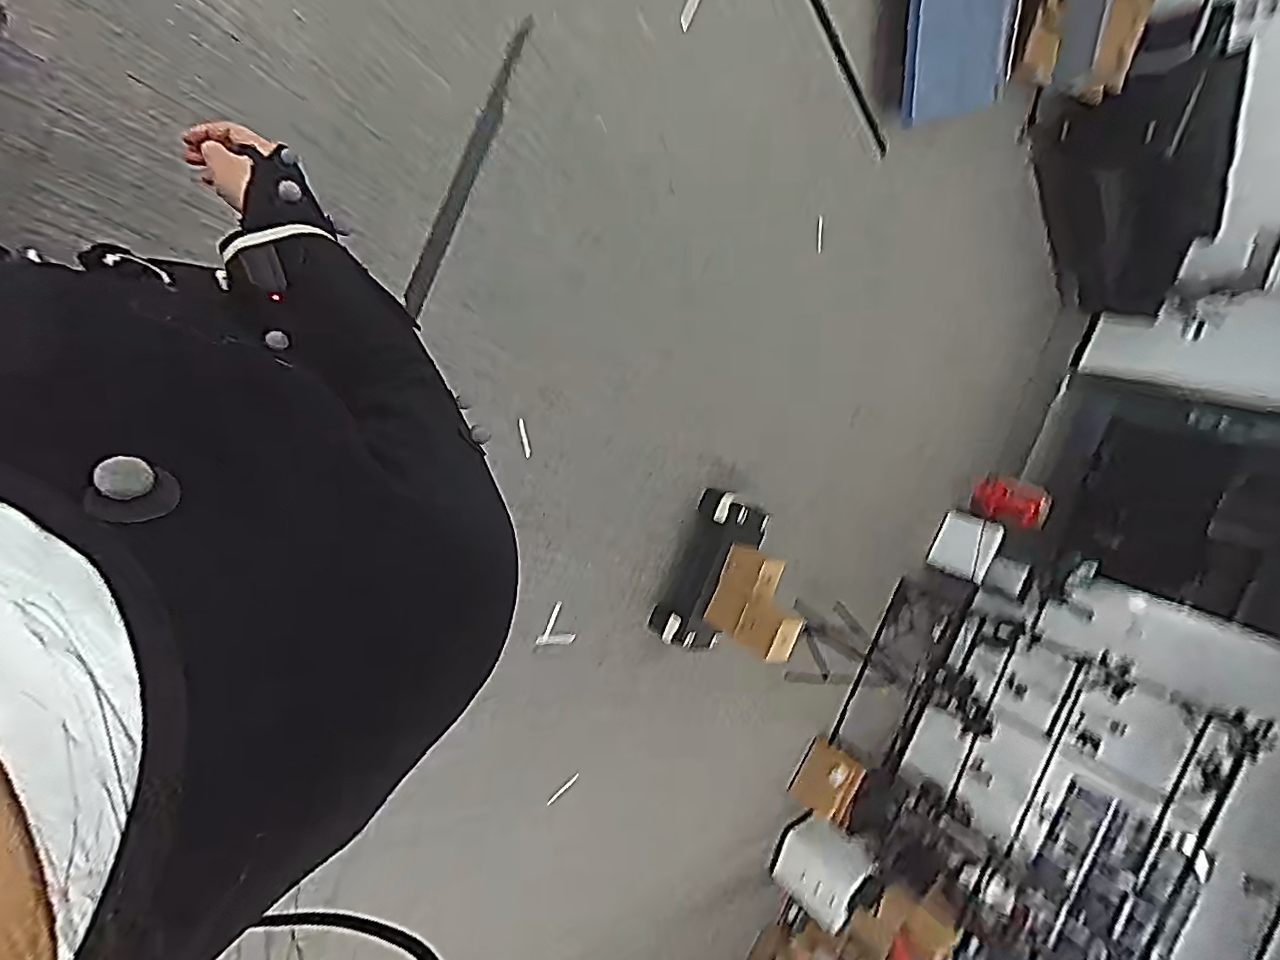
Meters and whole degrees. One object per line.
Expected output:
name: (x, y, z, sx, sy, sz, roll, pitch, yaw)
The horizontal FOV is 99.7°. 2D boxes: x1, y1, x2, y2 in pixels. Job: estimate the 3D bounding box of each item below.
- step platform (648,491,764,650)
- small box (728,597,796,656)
step platform: (0.299, 0.402, 2.379, 0.286, 0.204, 0.684, 20, 92, -47)
small box: (0.482, 0.577, 2.142, 0.179, 0.176, 0.168, 17, 96, -46)
